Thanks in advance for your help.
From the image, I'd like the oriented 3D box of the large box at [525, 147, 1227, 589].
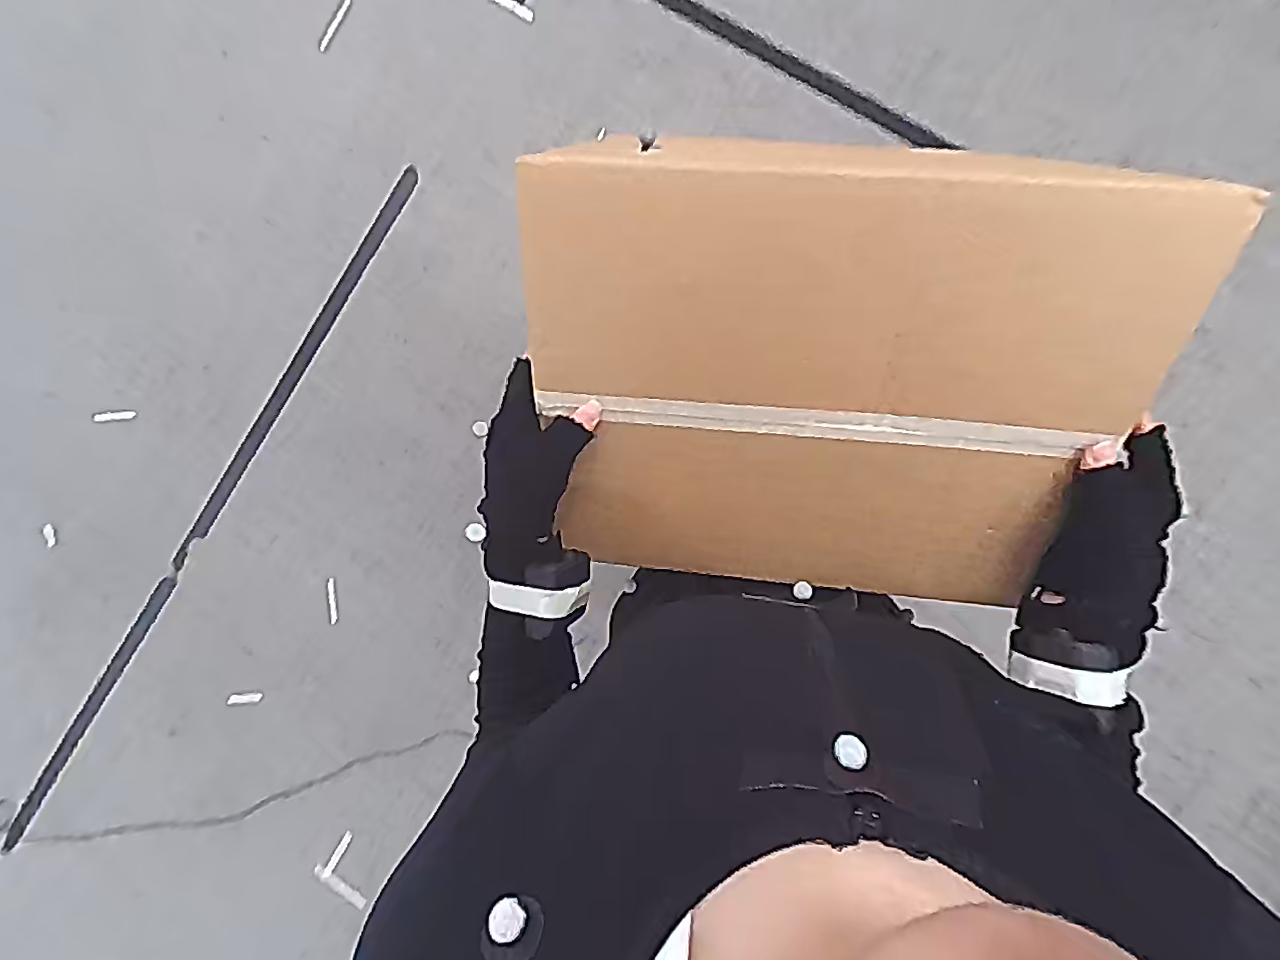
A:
[{"bbox_3d":[0.139,-0.132,0.518,0.408,0.320,0.320,6,125,5],"label":"large box"}]
